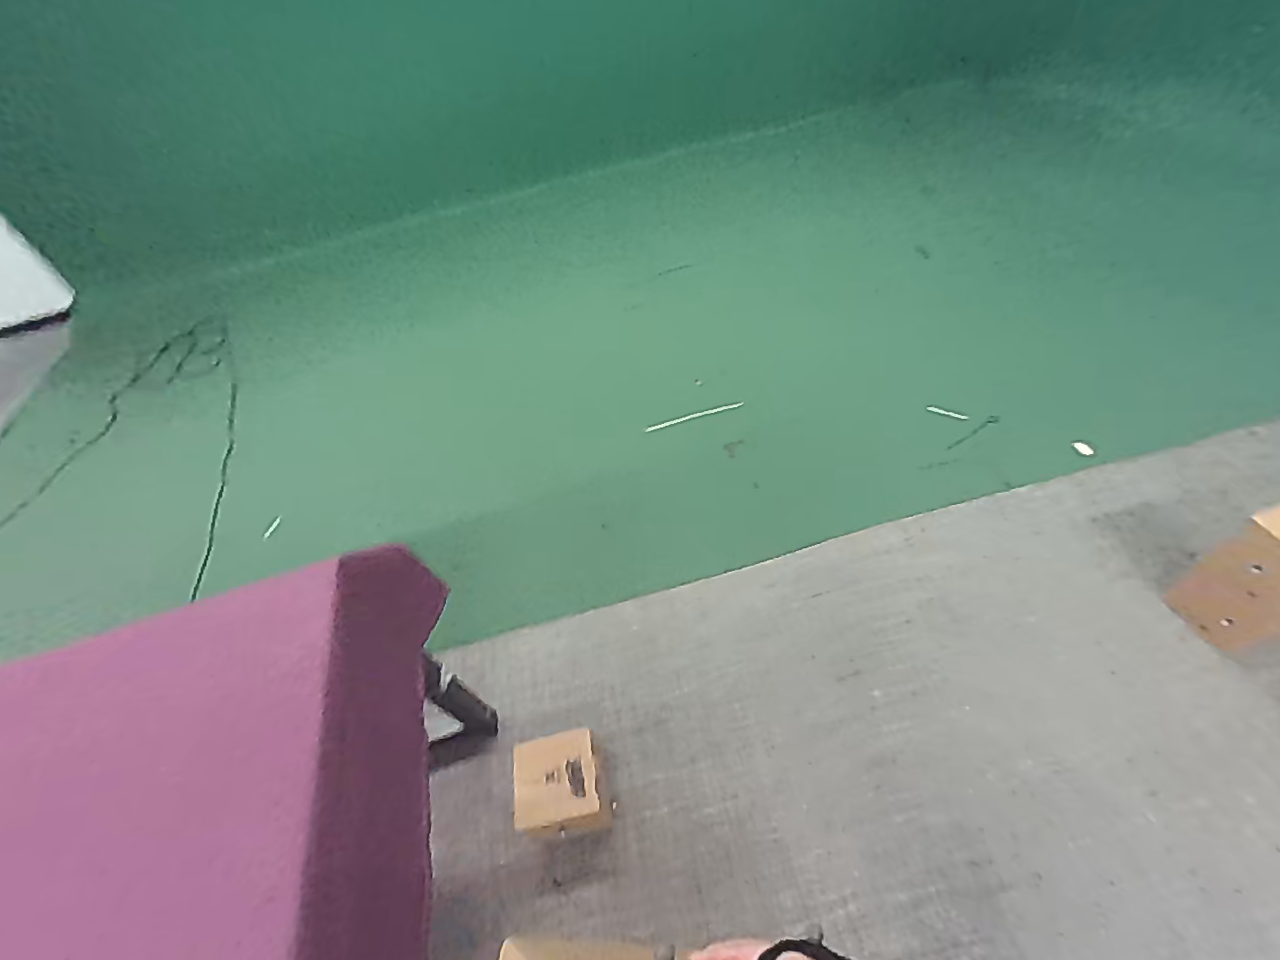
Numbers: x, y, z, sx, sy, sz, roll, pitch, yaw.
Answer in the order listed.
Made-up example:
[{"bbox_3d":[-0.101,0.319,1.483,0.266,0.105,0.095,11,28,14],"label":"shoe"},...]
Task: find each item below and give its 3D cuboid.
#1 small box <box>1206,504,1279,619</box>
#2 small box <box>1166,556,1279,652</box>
[{"bbox_3d":[1.310,0.155,1.081,0.179,0.176,0.168,-18,50,-2],"label":"small box"},{"bbox_3d":[1.342,0.259,1.204,0.179,0.176,0.168,-17,49,-2],"label":"small box"}]
